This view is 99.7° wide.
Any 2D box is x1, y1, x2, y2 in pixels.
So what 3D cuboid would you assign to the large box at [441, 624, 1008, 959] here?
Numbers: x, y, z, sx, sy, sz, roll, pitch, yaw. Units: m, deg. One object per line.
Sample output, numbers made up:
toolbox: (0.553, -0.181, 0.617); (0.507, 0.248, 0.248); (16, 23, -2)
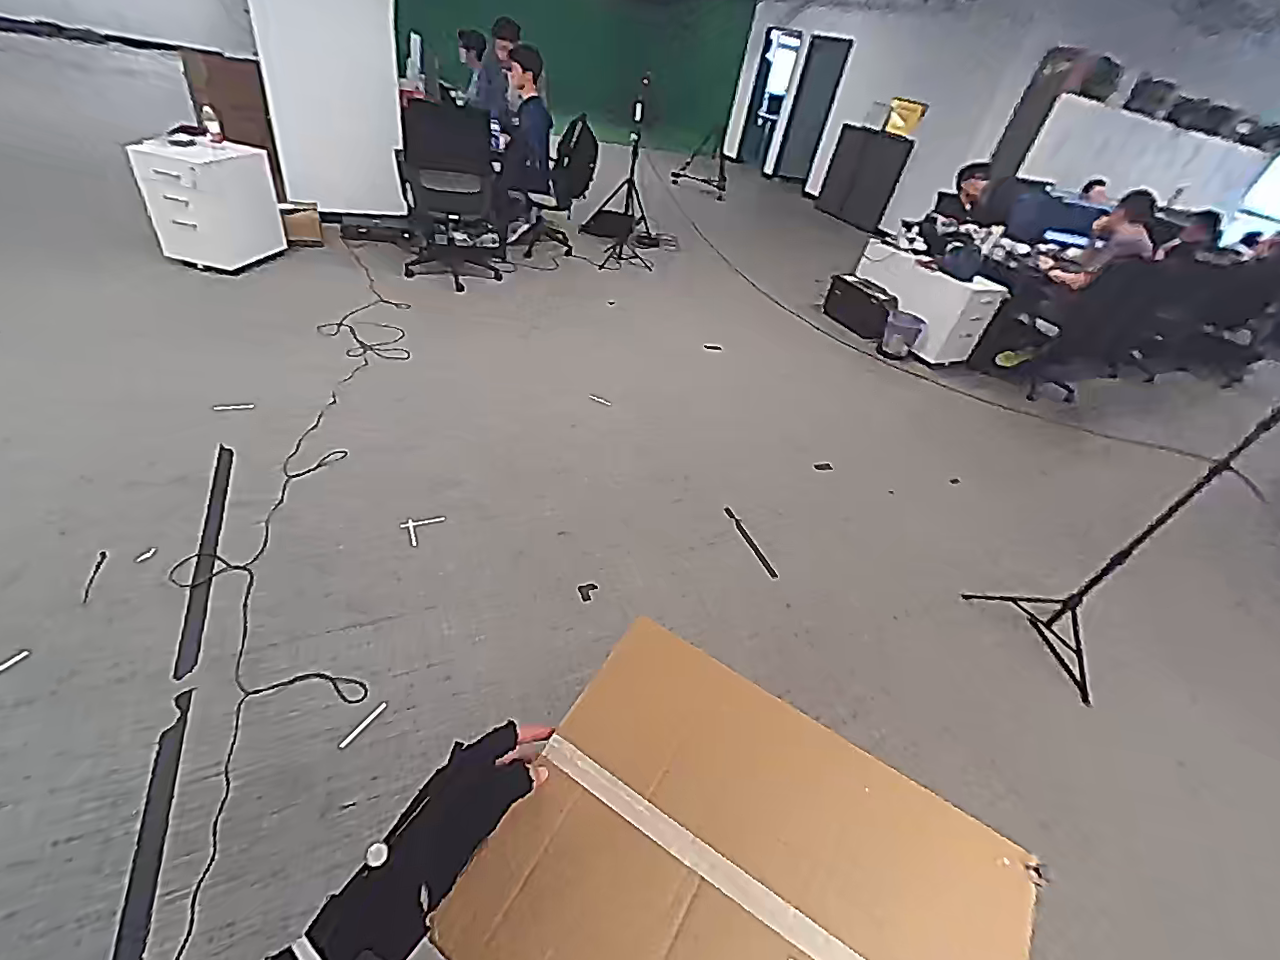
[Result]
large box: (0.073, 0.432, 0.569); (0.408, 0.320, 0.320); (28, 54, 17)
